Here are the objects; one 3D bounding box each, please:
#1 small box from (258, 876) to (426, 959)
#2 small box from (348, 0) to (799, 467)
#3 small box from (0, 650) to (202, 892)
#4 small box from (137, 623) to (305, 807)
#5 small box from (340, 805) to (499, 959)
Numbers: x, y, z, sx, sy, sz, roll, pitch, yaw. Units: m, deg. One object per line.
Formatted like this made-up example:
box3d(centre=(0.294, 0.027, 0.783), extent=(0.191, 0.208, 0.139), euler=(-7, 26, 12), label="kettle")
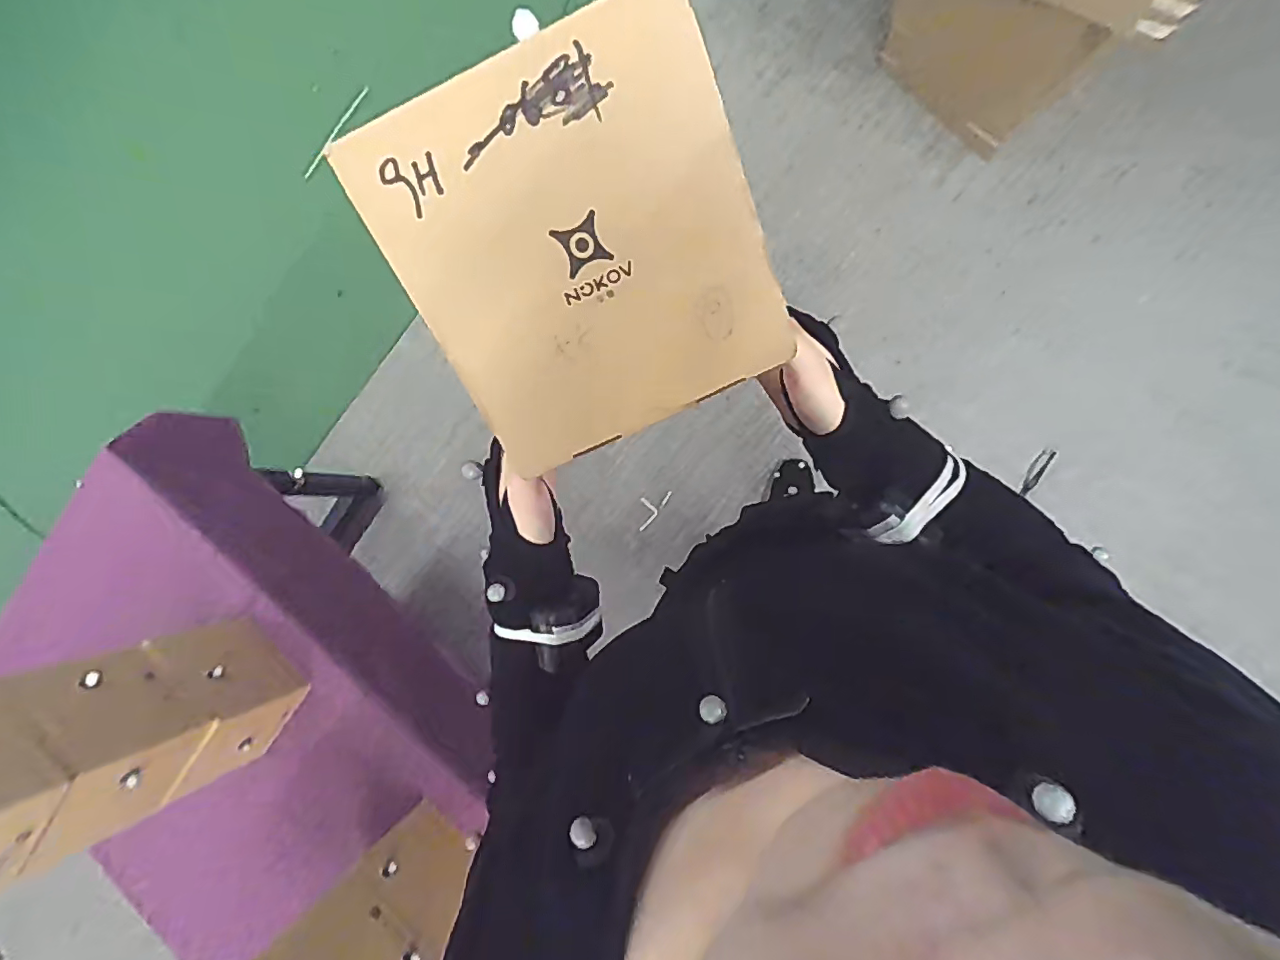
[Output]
box3d(centre=(-0.369, 0.609, 0.606), extent=(0.168, 0.176, 0.179), euler=(37, 97, 11), label="small box")
box3d(centre=(-0.028, -0.141, 0.332), extent=(0.168, 0.176, 0.179), euler=(-24, 116, 4), label="small box")
box3d(centre=(-0.713, 0.347, 0.685), extent=(0.168, 0.176, 0.179), euler=(37, 96, 11), label="small box")
box3d(centre=(-0.677, 0.348, 0.844), extent=(0.179, 0.176, 0.168), euler=(39, 95, 10), label="small box")
box3d(centre=(-0.334, 0.614, 0.766), extent=(0.179, 0.176, 0.168), euler=(37, 95, 11), label="small box")
